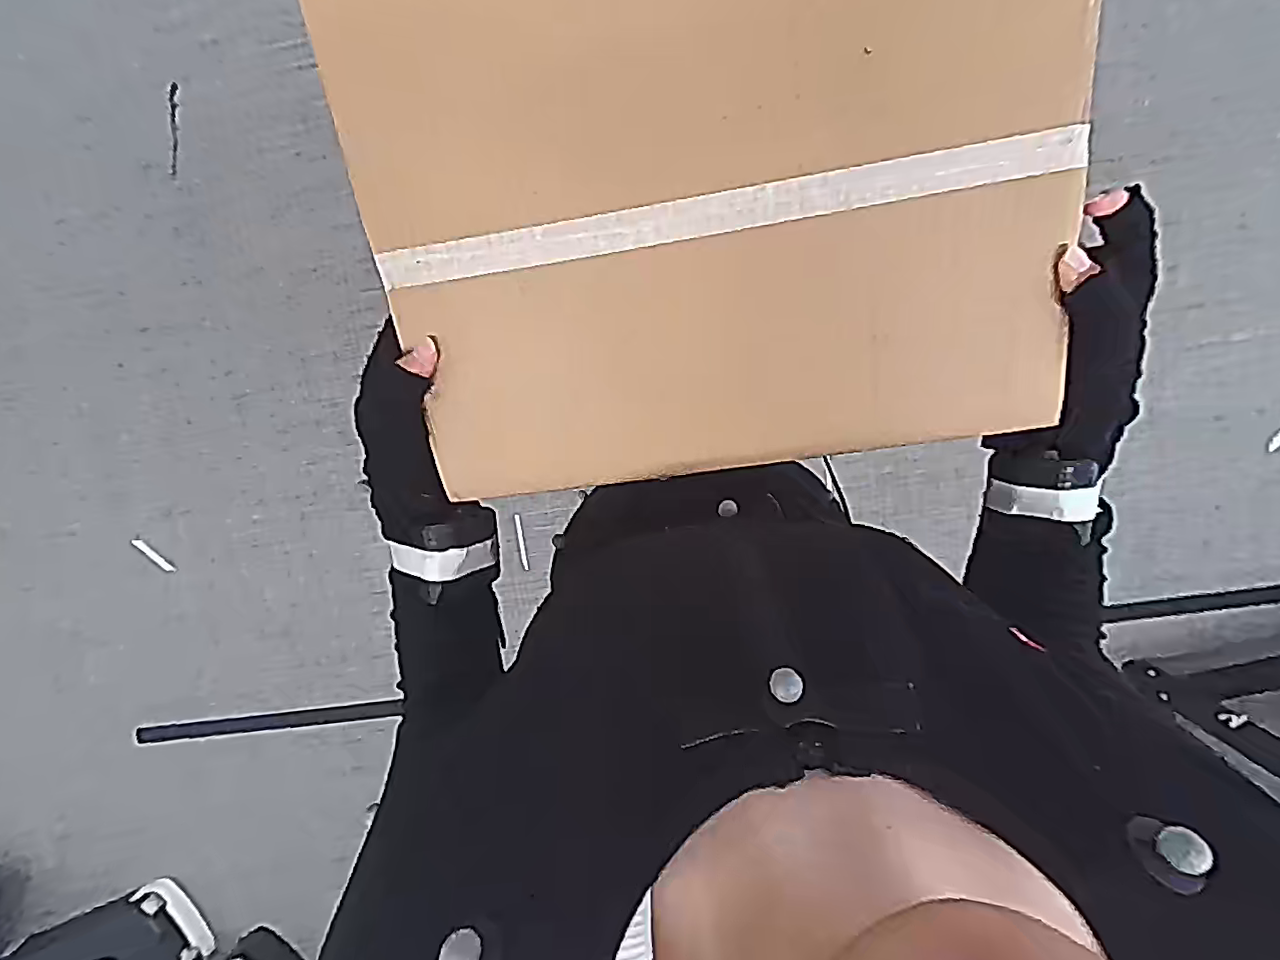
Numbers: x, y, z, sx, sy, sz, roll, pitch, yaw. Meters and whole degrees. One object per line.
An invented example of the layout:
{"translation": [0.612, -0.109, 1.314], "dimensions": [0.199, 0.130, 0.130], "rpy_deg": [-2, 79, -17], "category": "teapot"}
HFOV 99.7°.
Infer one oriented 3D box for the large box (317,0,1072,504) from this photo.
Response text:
{"translation": [0.048, -0.201, 0.464], "dimensions": [0.408, 0.320, 0.320], "rpy_deg": [-7, 109, 6], "category": "large box"}
